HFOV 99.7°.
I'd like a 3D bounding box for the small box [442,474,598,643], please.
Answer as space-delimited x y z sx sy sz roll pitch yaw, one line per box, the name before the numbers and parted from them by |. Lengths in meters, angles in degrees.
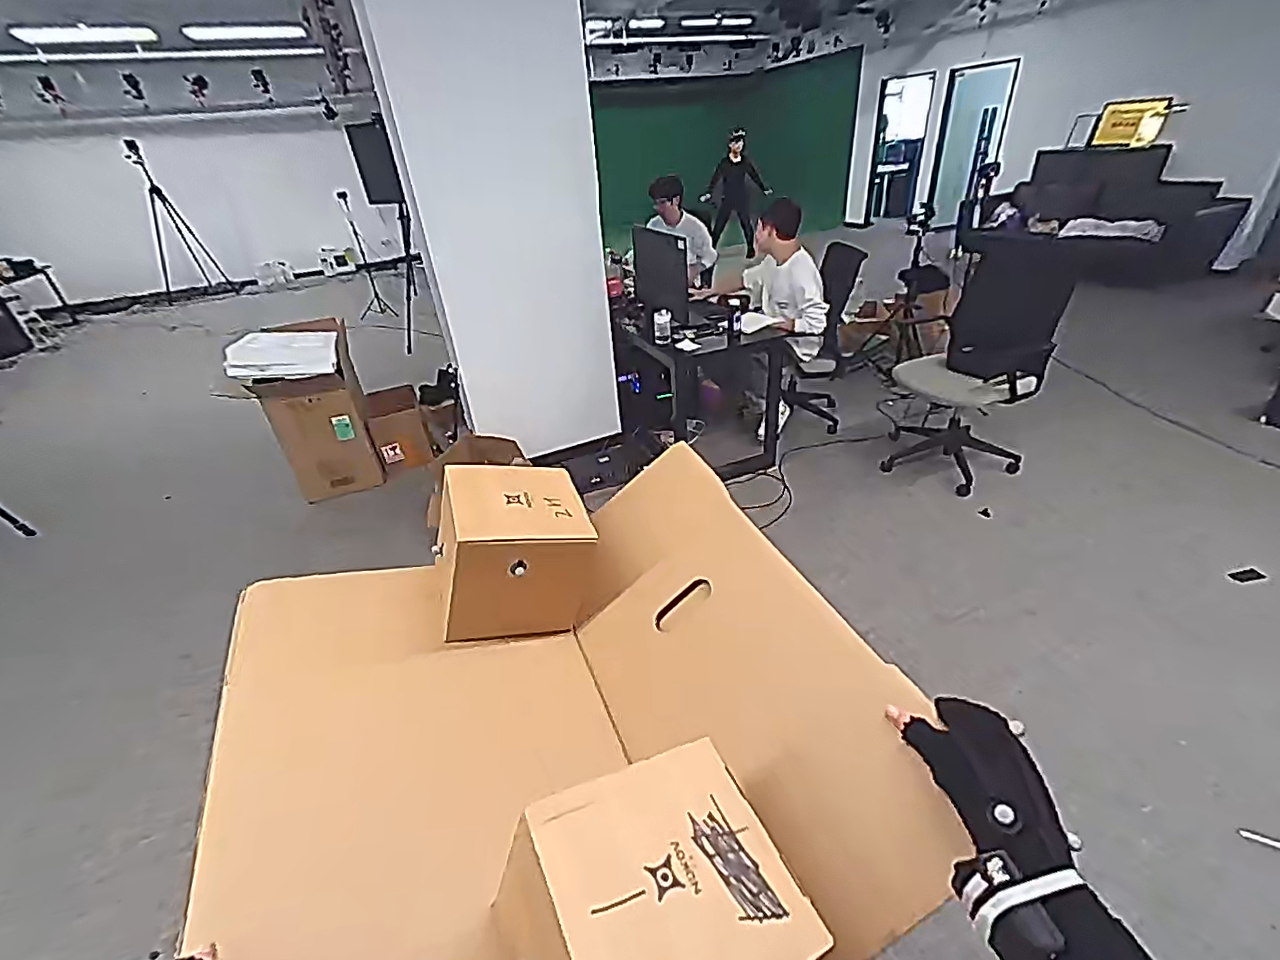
small box | -0.177 0.107 0.749 0.179 0.176 0.168 2 32 -25
